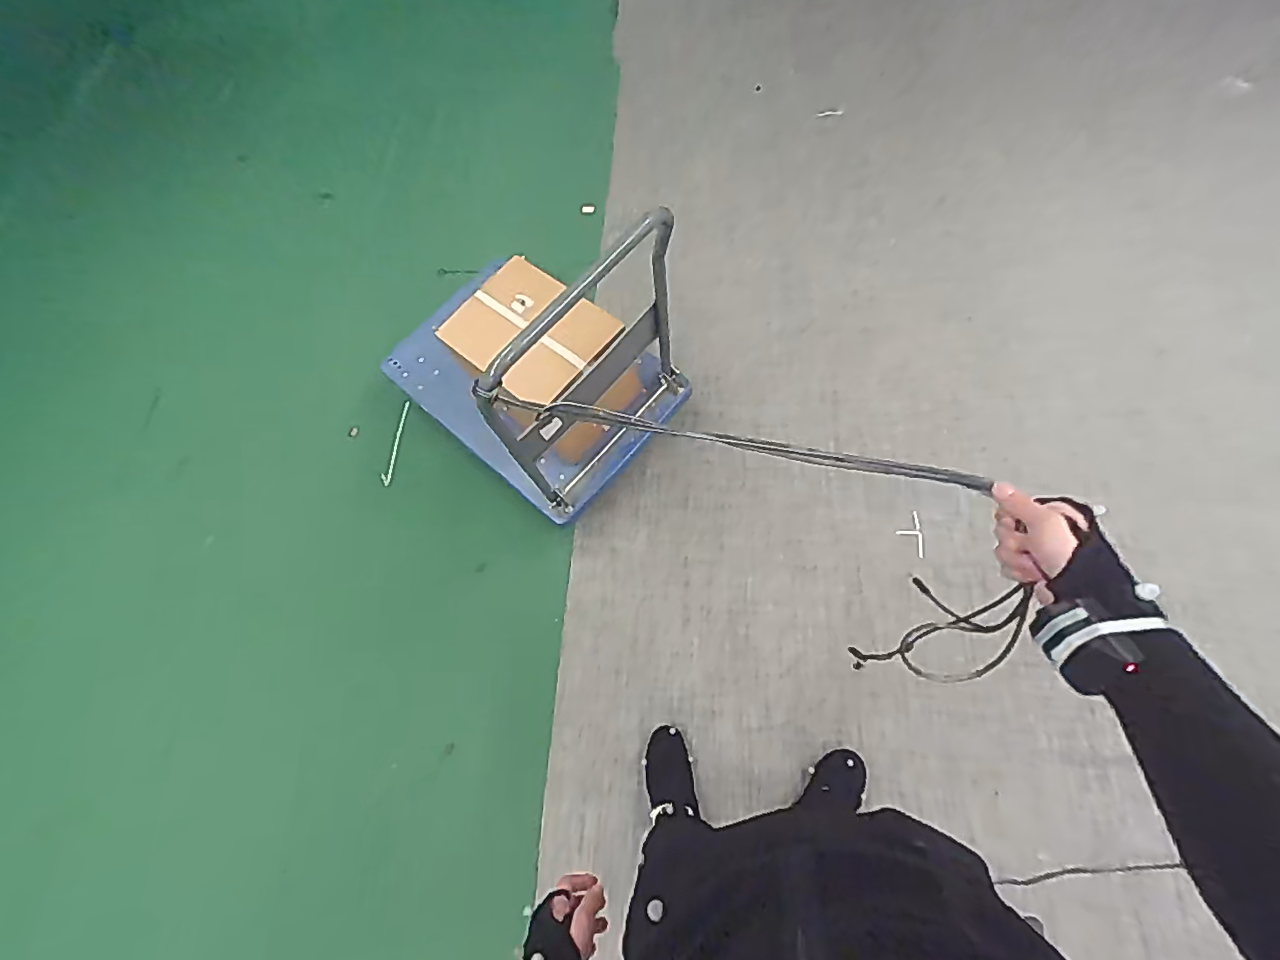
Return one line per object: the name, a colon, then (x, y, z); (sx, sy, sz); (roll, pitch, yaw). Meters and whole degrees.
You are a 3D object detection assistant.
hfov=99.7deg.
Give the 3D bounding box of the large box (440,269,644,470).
large box: (-0.252, -0.297, 1.496); (0.408, 0.320, 0.320); (37, 77, 22)
